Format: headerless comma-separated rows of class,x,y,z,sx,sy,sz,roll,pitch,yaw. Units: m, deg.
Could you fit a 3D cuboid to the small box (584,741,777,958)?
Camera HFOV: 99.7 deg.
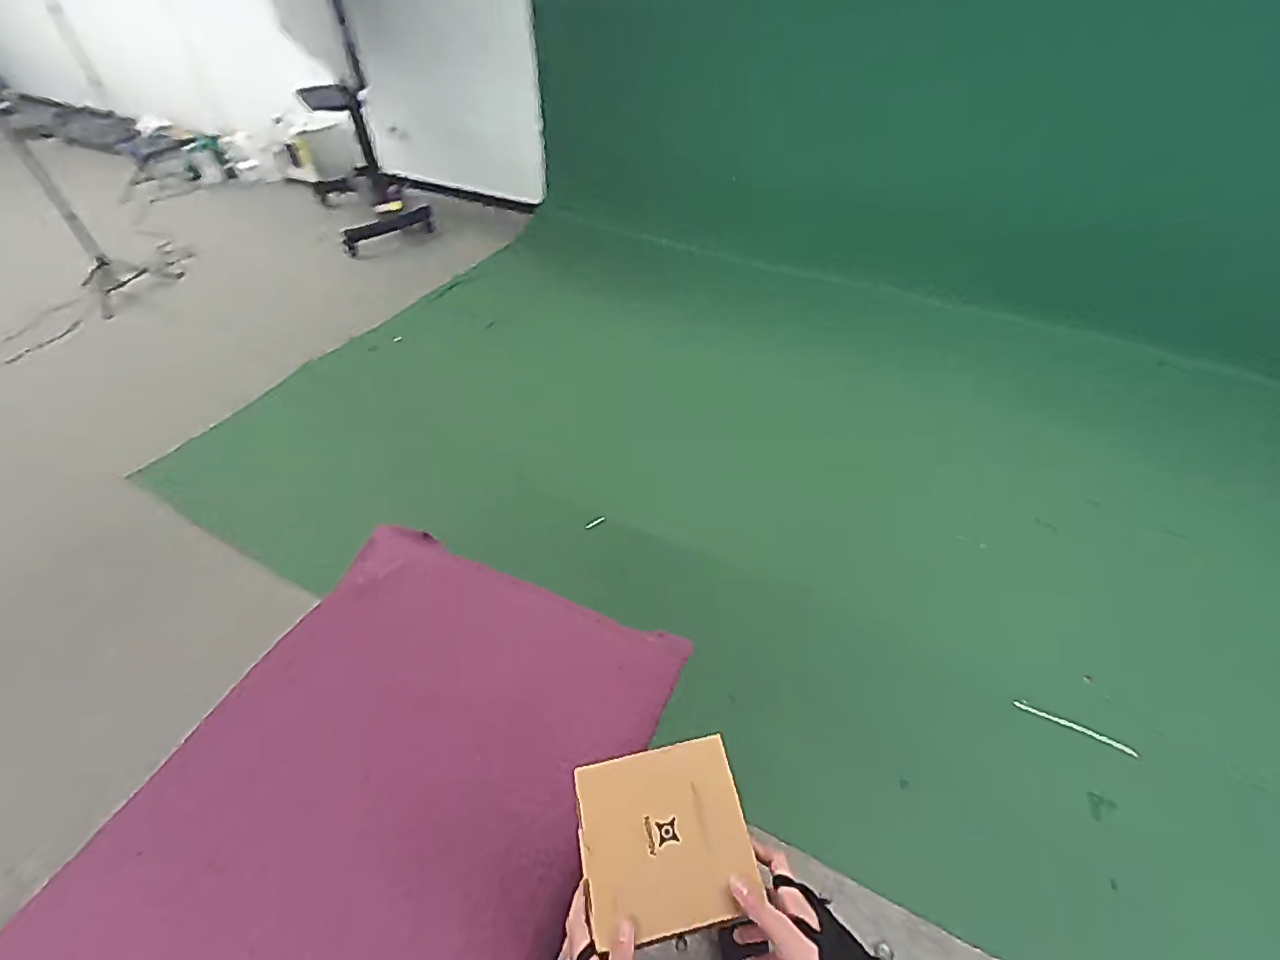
small box,0.041,0.427,0.622,0.179,0.176,0.168,-10,49,-4
